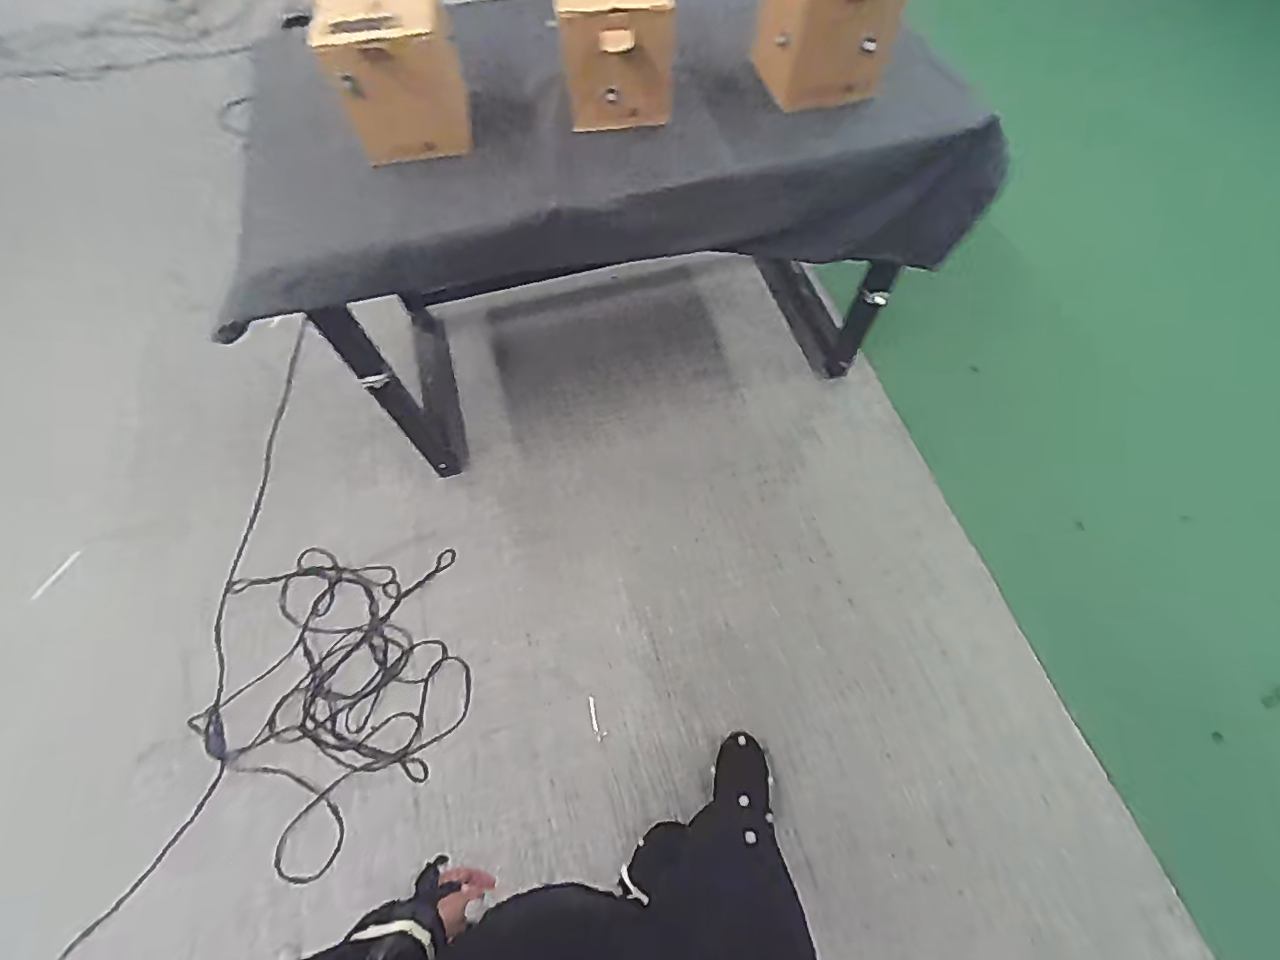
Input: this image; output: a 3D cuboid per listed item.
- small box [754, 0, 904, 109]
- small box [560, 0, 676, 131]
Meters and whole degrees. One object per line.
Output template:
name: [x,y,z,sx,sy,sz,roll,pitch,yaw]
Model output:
small box: [0.300,-0.735,0.880,0.168,0.176,0.179,-13,63,-6]
small box: [-0.039,-0.696,0.866,0.168,0.176,0.179,-5,64,-2]
